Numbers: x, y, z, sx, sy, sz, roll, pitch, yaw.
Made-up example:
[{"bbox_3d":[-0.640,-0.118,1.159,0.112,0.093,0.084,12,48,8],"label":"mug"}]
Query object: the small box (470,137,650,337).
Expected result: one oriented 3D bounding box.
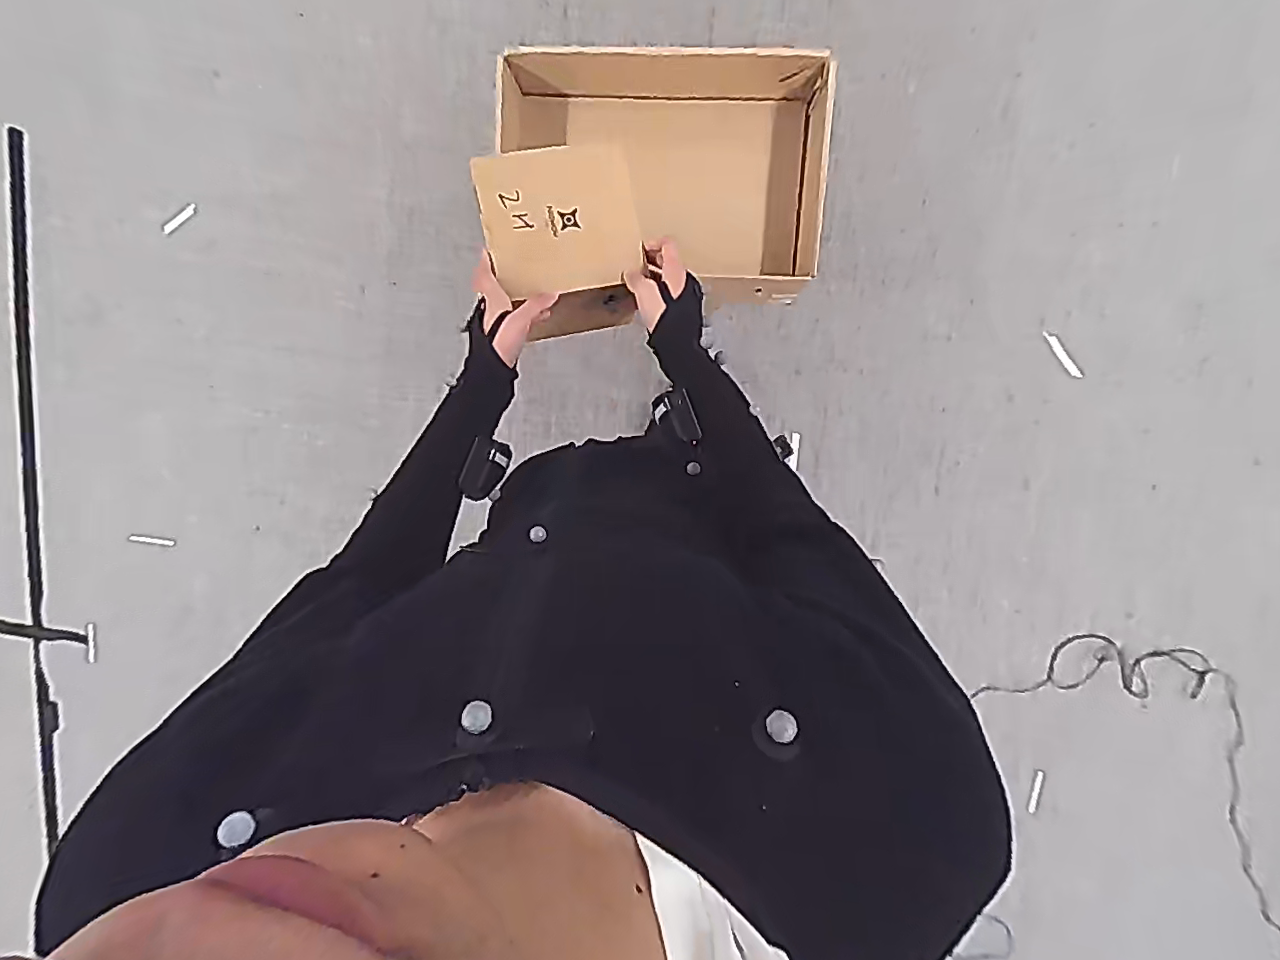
[{"bbox_3d":[-0.100,-0.293,0.683,0.179,0.176,0.168,-13,91,-8],"label":"small box"}]
